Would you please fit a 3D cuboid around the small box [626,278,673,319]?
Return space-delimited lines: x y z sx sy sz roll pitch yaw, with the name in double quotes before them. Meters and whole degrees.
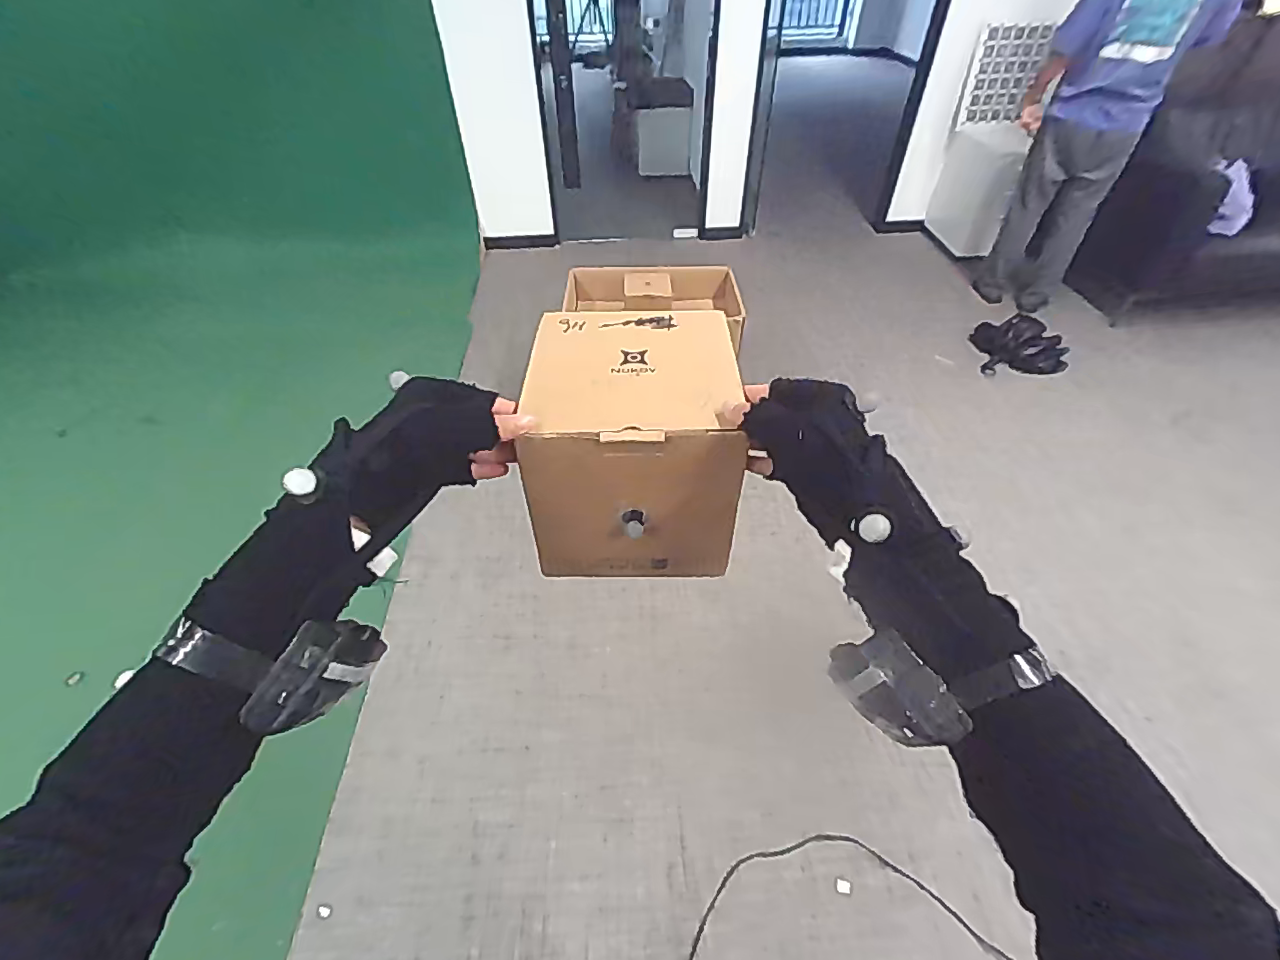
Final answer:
"small box" 0.033 -0.622 1.972 0.168 0.176 0.179 -1 43 -2

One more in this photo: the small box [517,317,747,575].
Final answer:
"small box" -0.002 -0.028 0.490 0.168 0.176 0.179 0 45 1
